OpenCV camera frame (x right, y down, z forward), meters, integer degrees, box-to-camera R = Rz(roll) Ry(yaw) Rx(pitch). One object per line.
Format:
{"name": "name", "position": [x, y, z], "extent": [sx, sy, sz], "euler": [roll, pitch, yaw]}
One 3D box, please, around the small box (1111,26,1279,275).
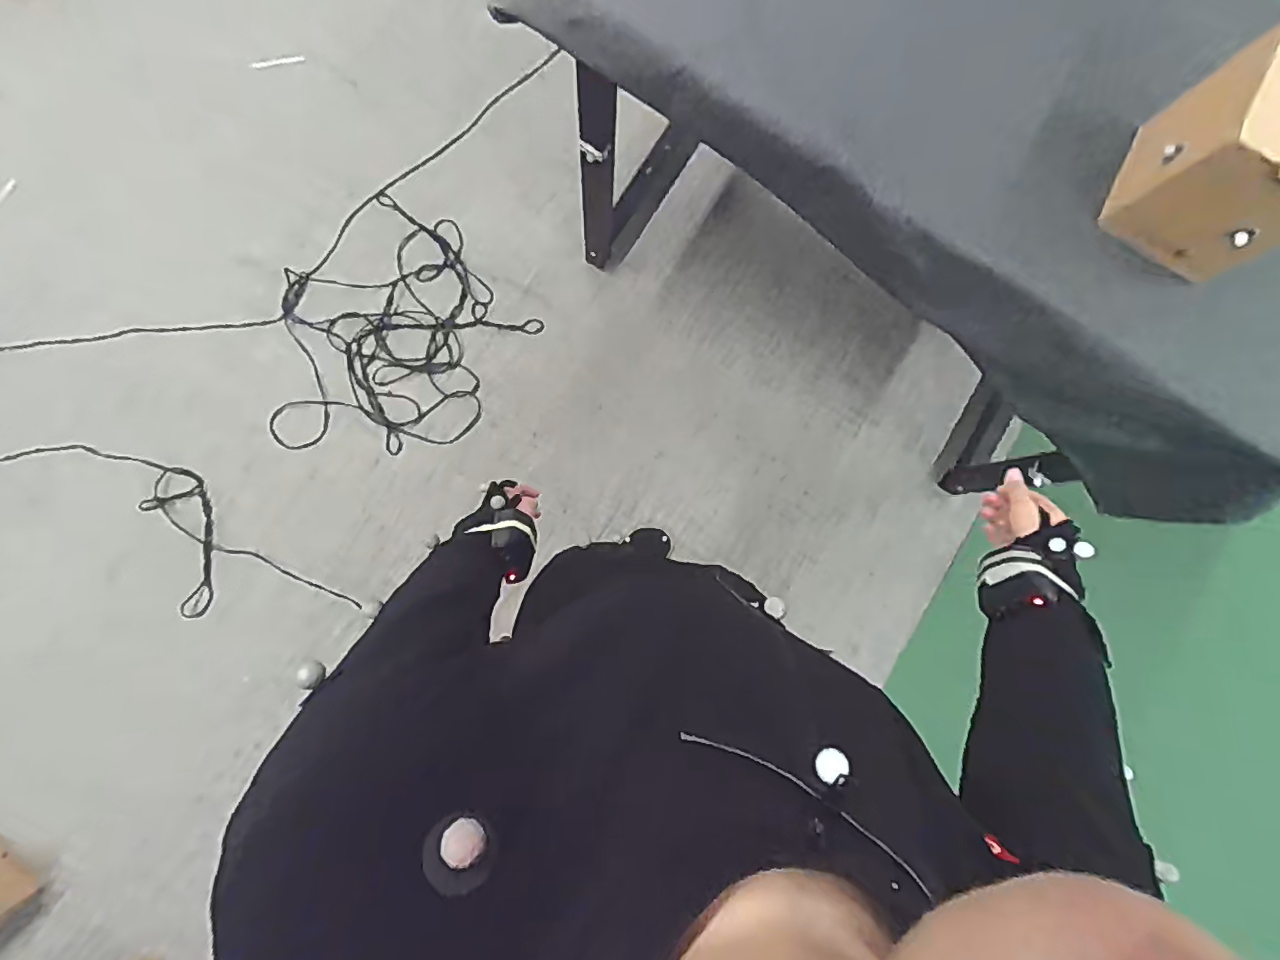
{"name": "small box", "position": [0.739, -0.388, 0.661], "extent": [0.168, 0.176, 0.179], "euler": [29, 82, -2]}
